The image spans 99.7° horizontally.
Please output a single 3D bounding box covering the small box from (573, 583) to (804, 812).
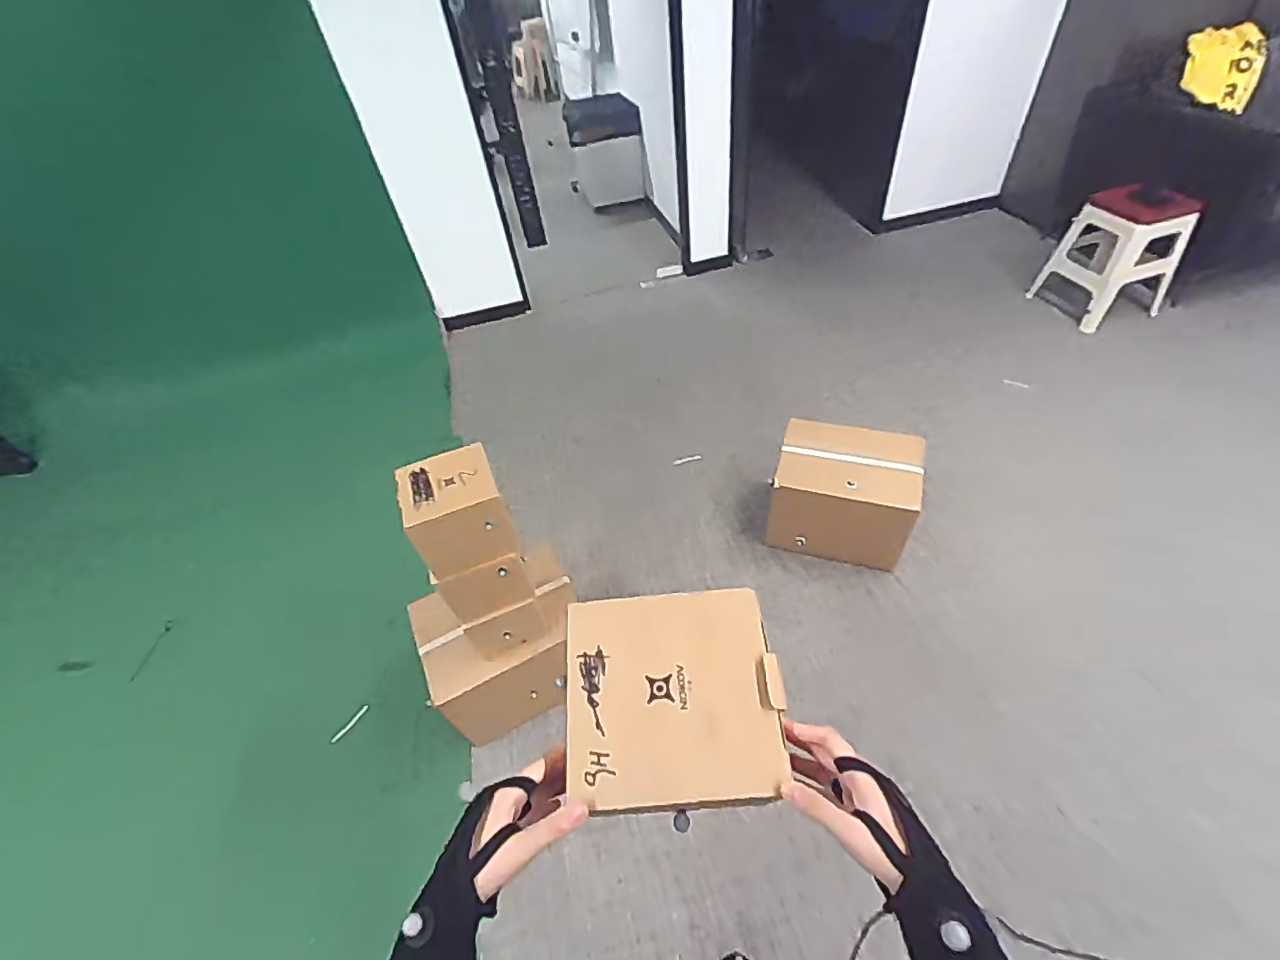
[{"bbox_3d":[0.035,0.210,0.512,0.179,0.176,0.168,-4,55,0],"label":"small box"}]

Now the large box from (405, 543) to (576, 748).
[{"bbox_3d":[-0.358,0.450,1.486,0.408,0.320,0.320,-26,48,-15],"label":"large box"}]

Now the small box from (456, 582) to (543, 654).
[{"bbox_3d":[-0.342,0.292,1.294,0.168,0.176,0.179,-20,48,-12],"label":"small box"}]

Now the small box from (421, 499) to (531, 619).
[{"bbox_3d":[-0.355,0.176,1.182,0.179,0.176,0.168,-19,48,-12],"label":"small box"}]
